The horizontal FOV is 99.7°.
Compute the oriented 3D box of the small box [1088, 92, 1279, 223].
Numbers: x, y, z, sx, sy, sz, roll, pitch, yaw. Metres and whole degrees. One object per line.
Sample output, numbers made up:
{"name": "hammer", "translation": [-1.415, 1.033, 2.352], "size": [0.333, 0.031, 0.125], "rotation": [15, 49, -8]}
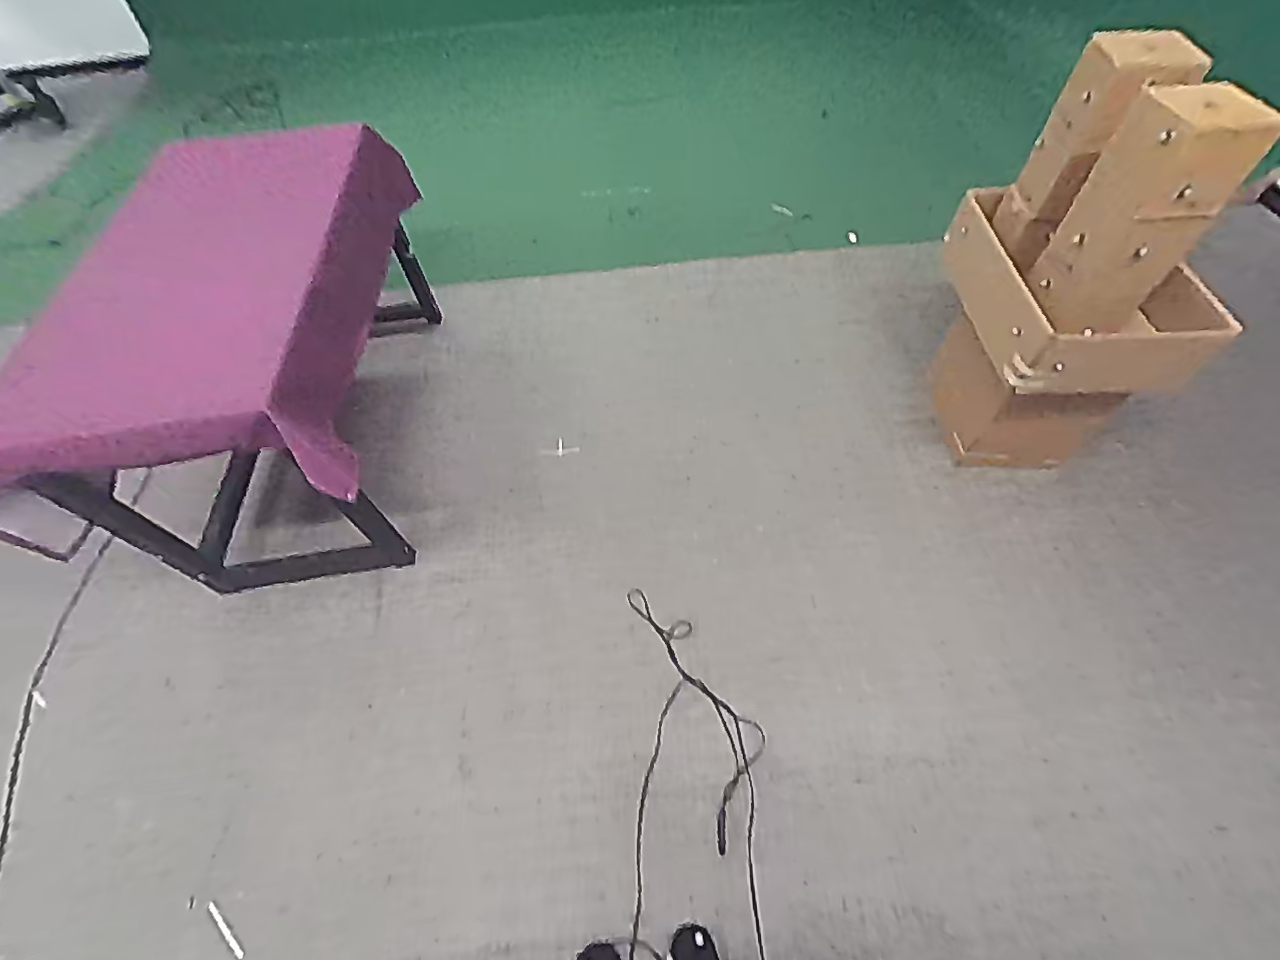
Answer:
{"name": "small box", "translation": [1.041, -0.627, 1.057], "size": [0.168, 0.176, 0.179], "rotation": [-2, 55, 1]}

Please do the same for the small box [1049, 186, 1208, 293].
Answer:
{"name": "small box", "translation": [1.050, -0.529, 1.188], "size": [0.179, 0.176, 0.168], "rotation": [-3, 55, 2]}

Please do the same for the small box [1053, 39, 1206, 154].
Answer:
{"name": "small box", "translation": [1.069, -0.850, 1.207], "size": [0.179, 0.176, 0.168], "rotation": [4, 57, 5]}
